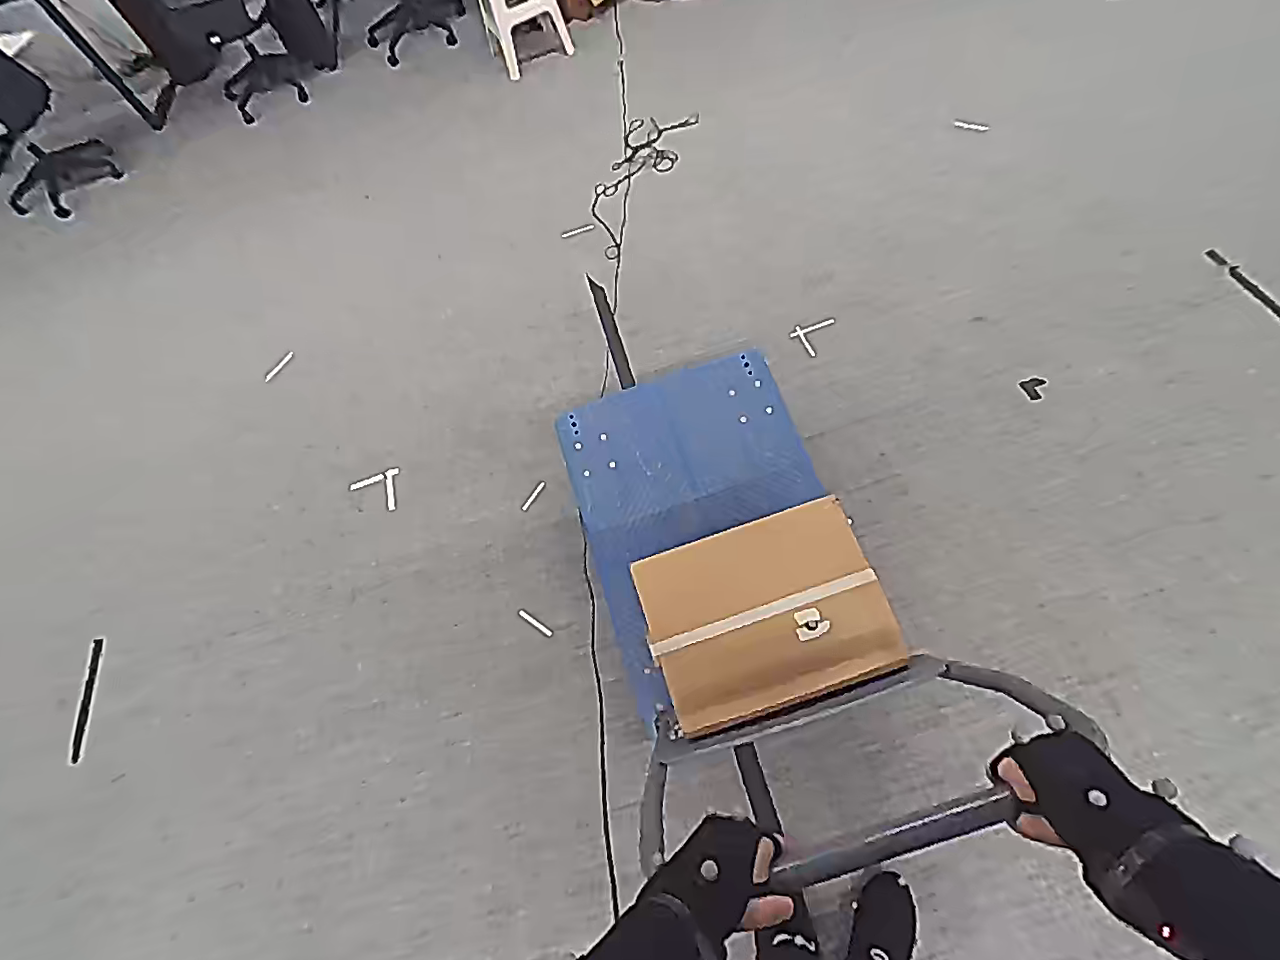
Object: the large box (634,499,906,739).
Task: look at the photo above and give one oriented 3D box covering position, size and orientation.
[{"bbox_3d":[0.234,0.283,1.103,0.408,0.320,0.320,-19,72,-1],"label":"large box"}]
